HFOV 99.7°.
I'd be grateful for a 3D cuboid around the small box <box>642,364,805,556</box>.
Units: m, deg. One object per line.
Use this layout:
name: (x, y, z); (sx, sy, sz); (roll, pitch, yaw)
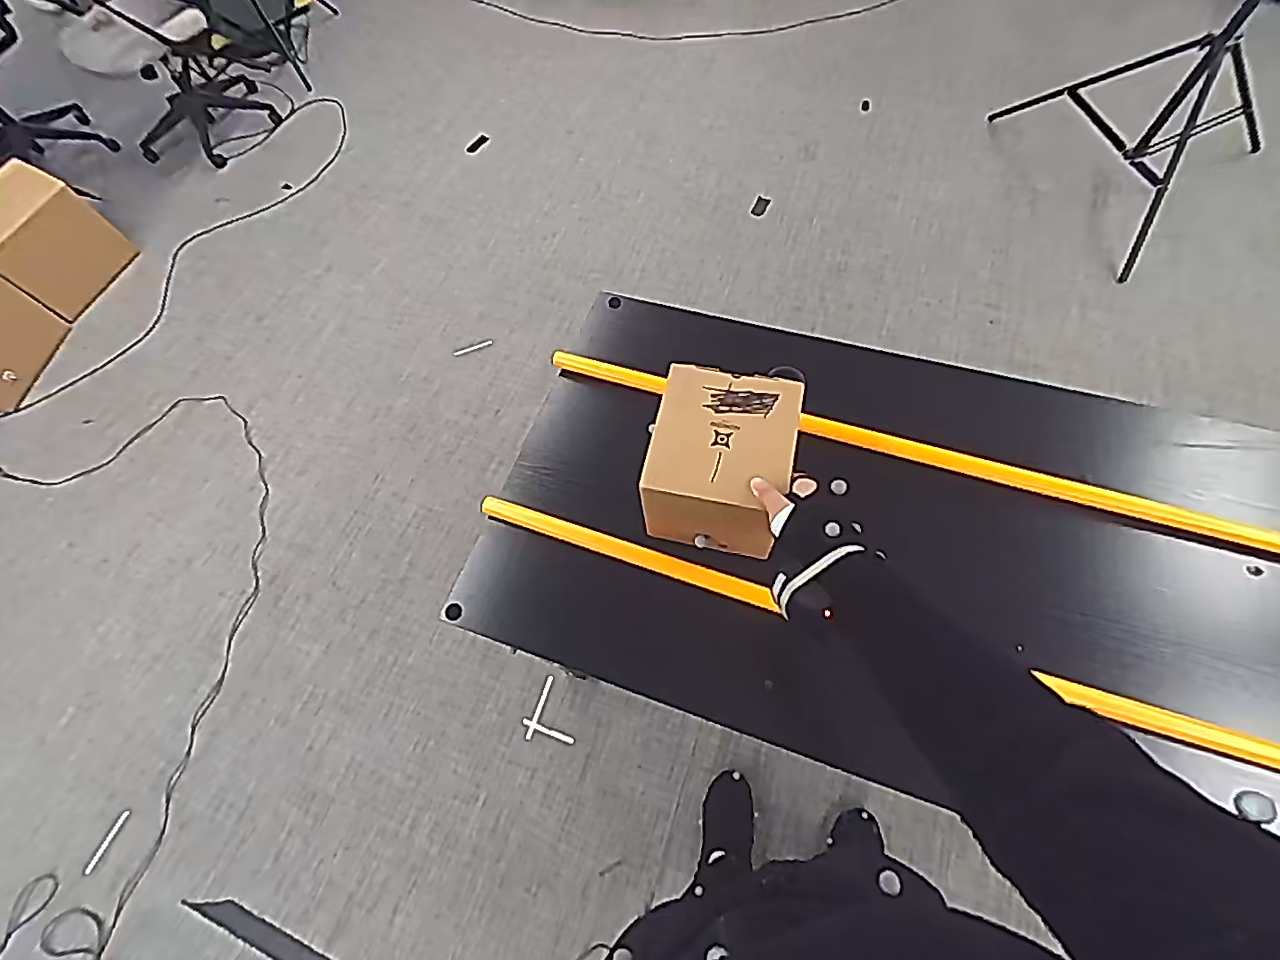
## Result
small box: (0.106, -0.021, 0.702); (0.168, 0.176, 0.179); (11, 67, 11)
